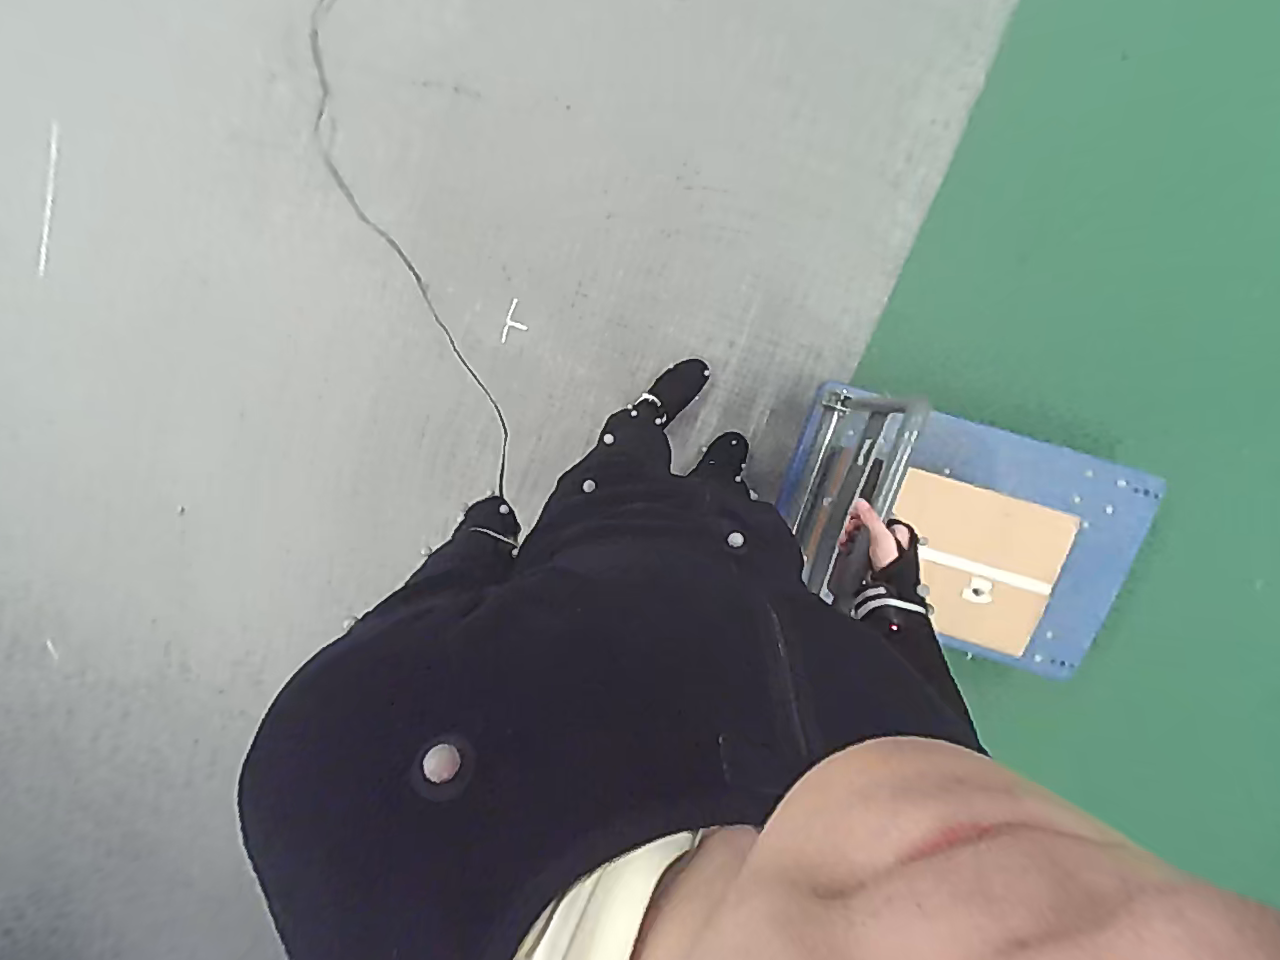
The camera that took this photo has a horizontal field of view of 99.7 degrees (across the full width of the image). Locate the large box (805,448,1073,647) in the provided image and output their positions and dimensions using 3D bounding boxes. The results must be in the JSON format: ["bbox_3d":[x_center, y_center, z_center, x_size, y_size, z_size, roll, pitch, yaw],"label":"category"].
[{"bbox_3d":[0.650,0.131,1.261,0.408,0.320,0.320,17,101,3],"label":"large box"}]
